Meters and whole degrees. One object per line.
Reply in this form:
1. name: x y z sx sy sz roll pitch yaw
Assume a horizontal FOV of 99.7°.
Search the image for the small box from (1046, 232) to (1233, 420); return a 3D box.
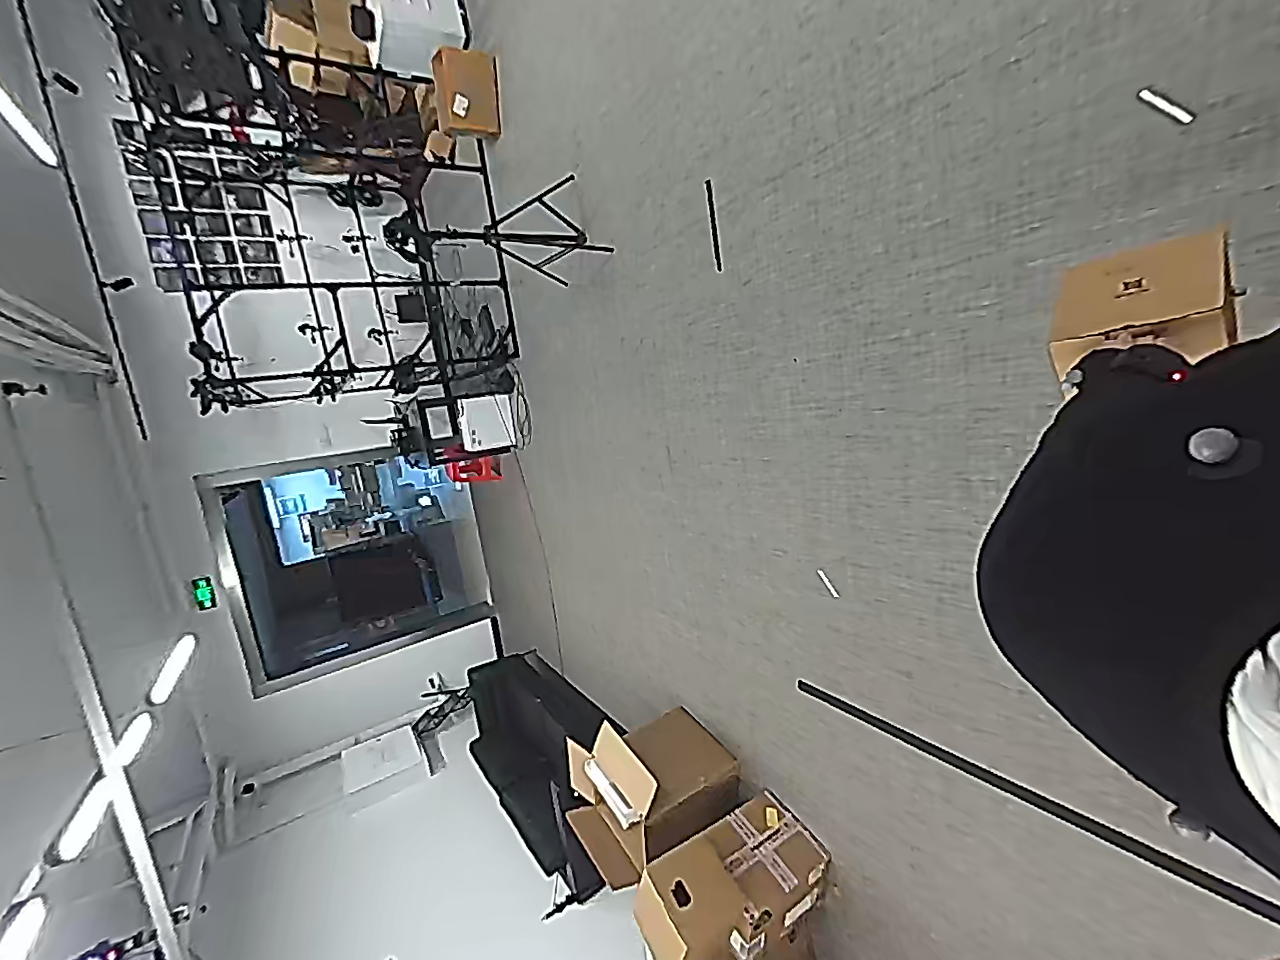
1. small box: 0.695 -0.197 0.750 0.168 0.179 0.176 -3 135 49
